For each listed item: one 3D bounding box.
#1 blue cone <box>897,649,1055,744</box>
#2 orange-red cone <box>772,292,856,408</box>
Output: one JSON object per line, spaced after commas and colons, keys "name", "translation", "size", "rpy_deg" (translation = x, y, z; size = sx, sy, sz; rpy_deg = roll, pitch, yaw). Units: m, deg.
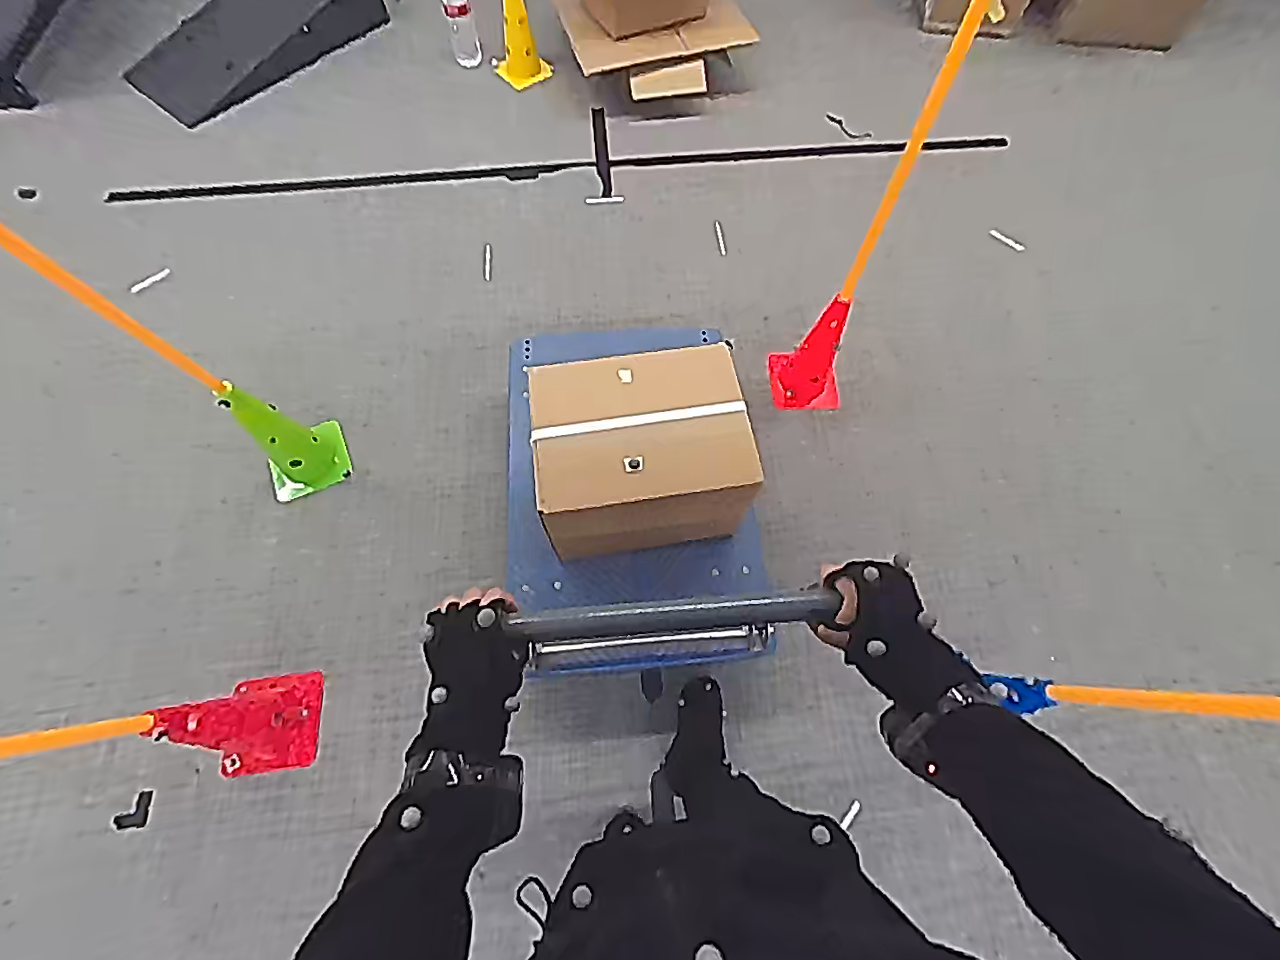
{"name": "blue cone", "translation": [0.725, 0.440, 1.128], "size": [0.193, 0.380, 0.192], "rpy_deg": [-9, 65, -5]}
{"name": "orange-red cone", "translation": [0.506, -0.373, 1.475], "size": [0.199, 0.360, 0.198], "rpy_deg": [1, 66, -2]}
